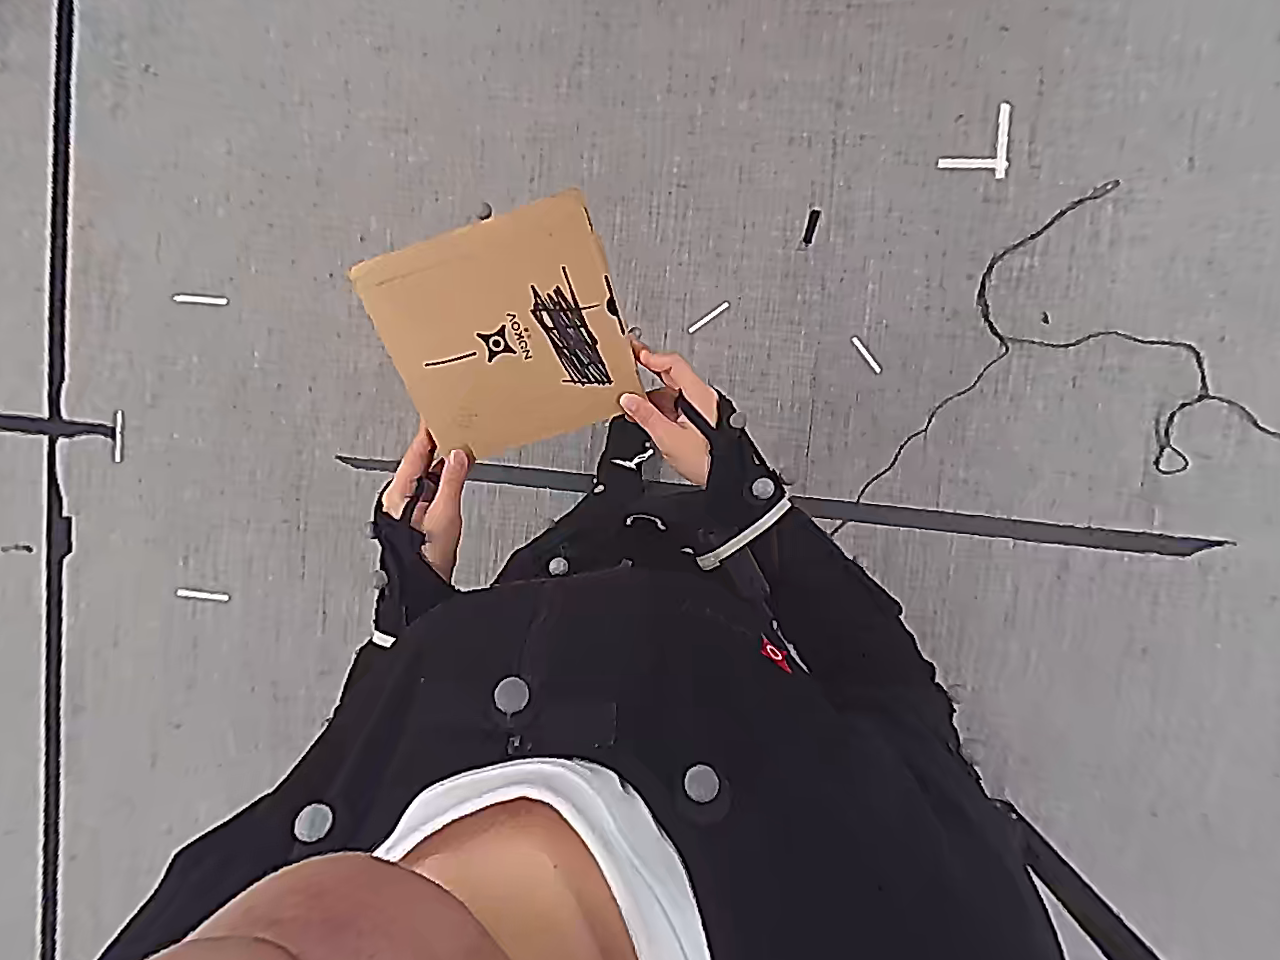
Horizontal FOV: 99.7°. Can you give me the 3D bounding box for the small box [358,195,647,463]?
[{"bbox_3d":[-0.105,-0.141,0.487,0.179,0.176,0.168,-17,115,4],"label":"small box"}]
